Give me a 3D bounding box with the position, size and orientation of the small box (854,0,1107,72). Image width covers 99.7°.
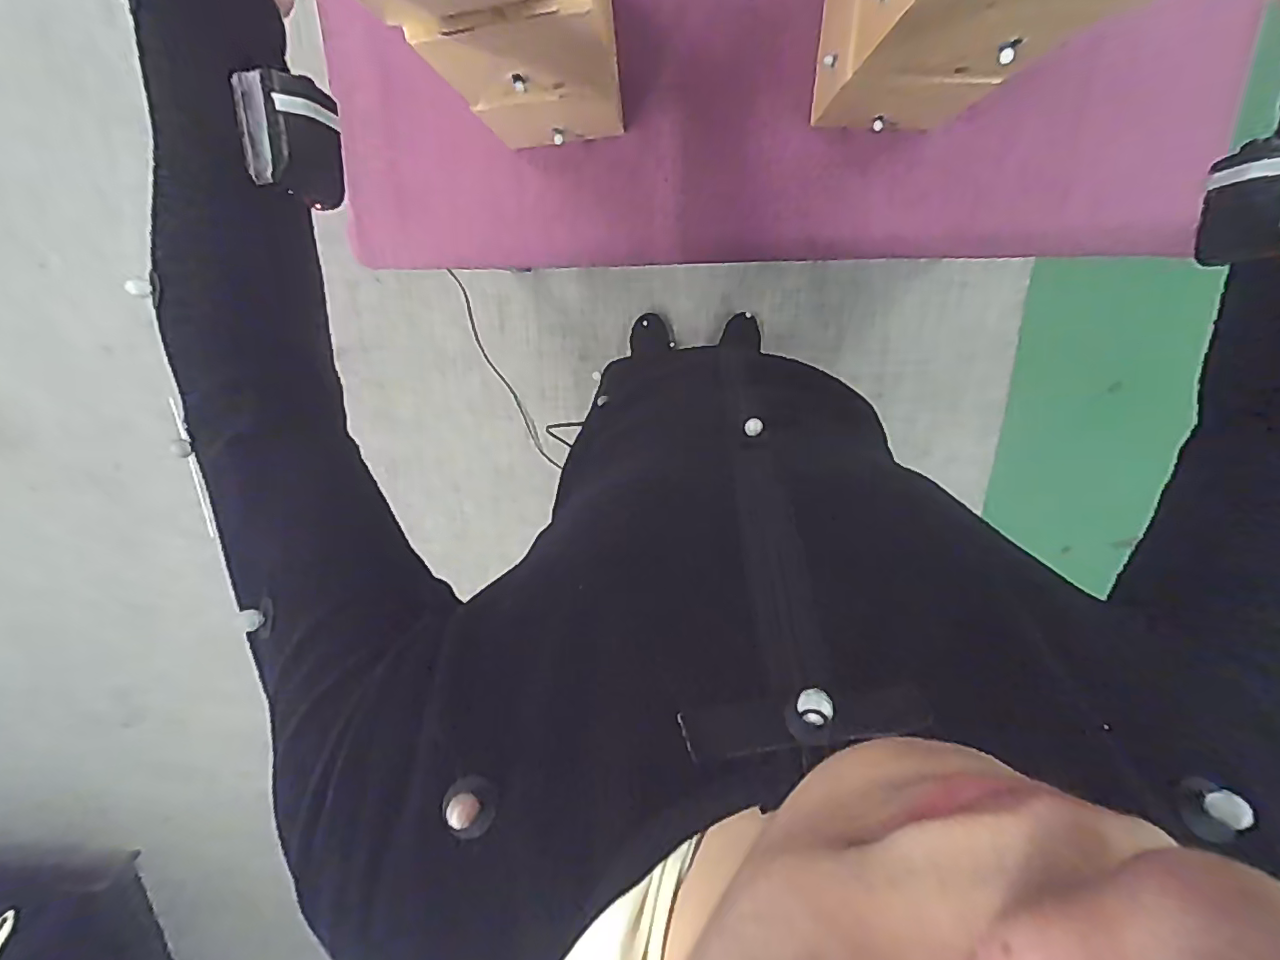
[{"bbox_3d":[0.300,-0.486,0.472,0.168,0.176,0.179,2,109,4],"label":"small box"}]

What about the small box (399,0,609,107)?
[{"bbox_3d":[-0.127,-0.489,0.507,0.168,0.176,0.179,-6,108,6],"label":"small box"}]

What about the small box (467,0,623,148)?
[{"bbox_3d":[-0.116,-0.537,0.663,0.168,0.176,0.179,-4,108,6],"label":"small box"}]

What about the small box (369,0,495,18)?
[{"bbox_3d":[-0.152,-0.441,0.345,0.179,0.176,0.168,-3,109,11],"label":"small box"}]
